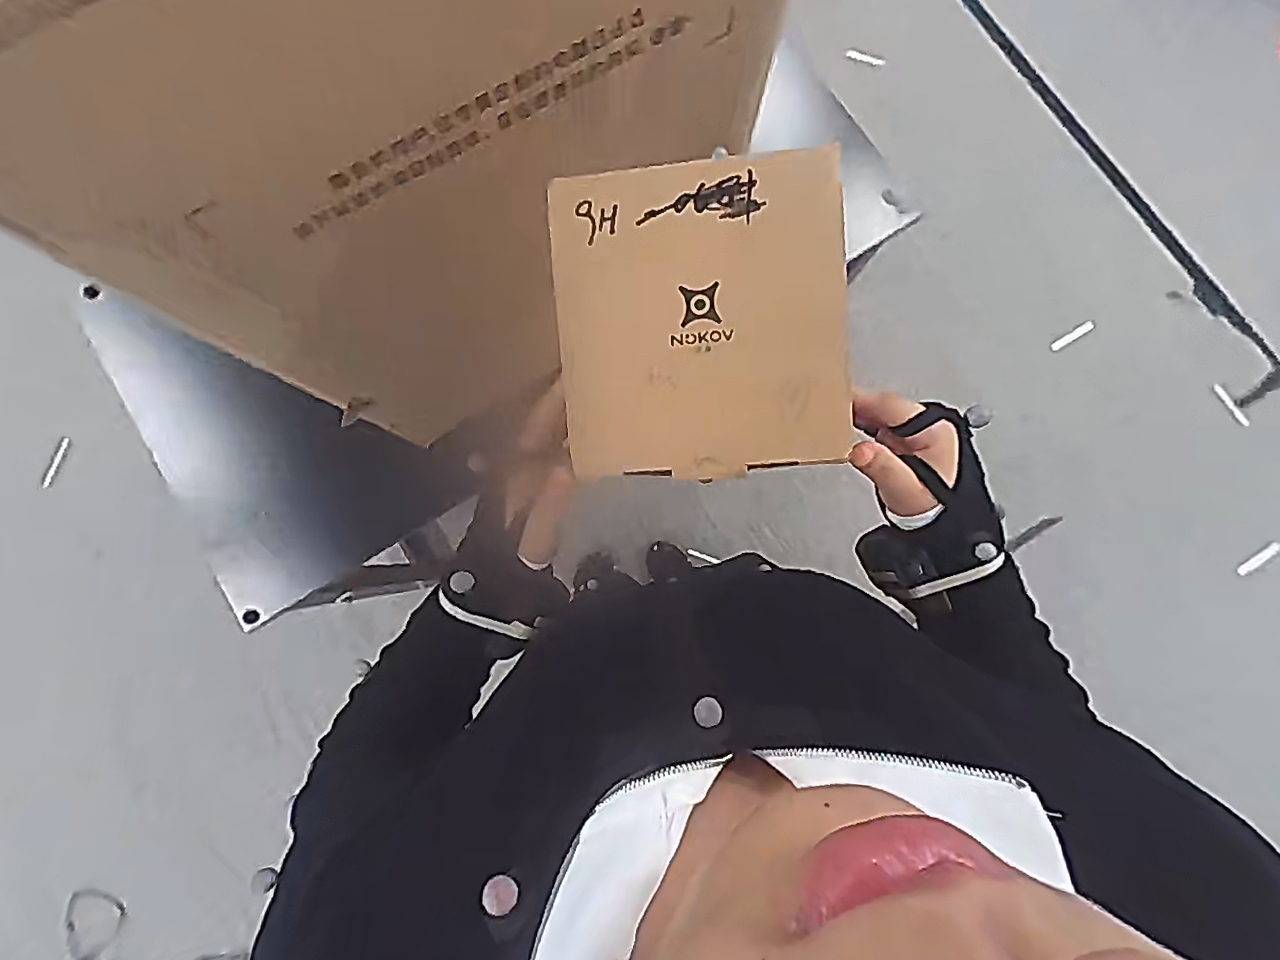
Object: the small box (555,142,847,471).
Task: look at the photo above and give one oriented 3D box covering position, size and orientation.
[{"bbox_3d":[0.045,-0.105,0.395,0.168,0.176,0.179,-4,95,7],"label":"small box"}]
